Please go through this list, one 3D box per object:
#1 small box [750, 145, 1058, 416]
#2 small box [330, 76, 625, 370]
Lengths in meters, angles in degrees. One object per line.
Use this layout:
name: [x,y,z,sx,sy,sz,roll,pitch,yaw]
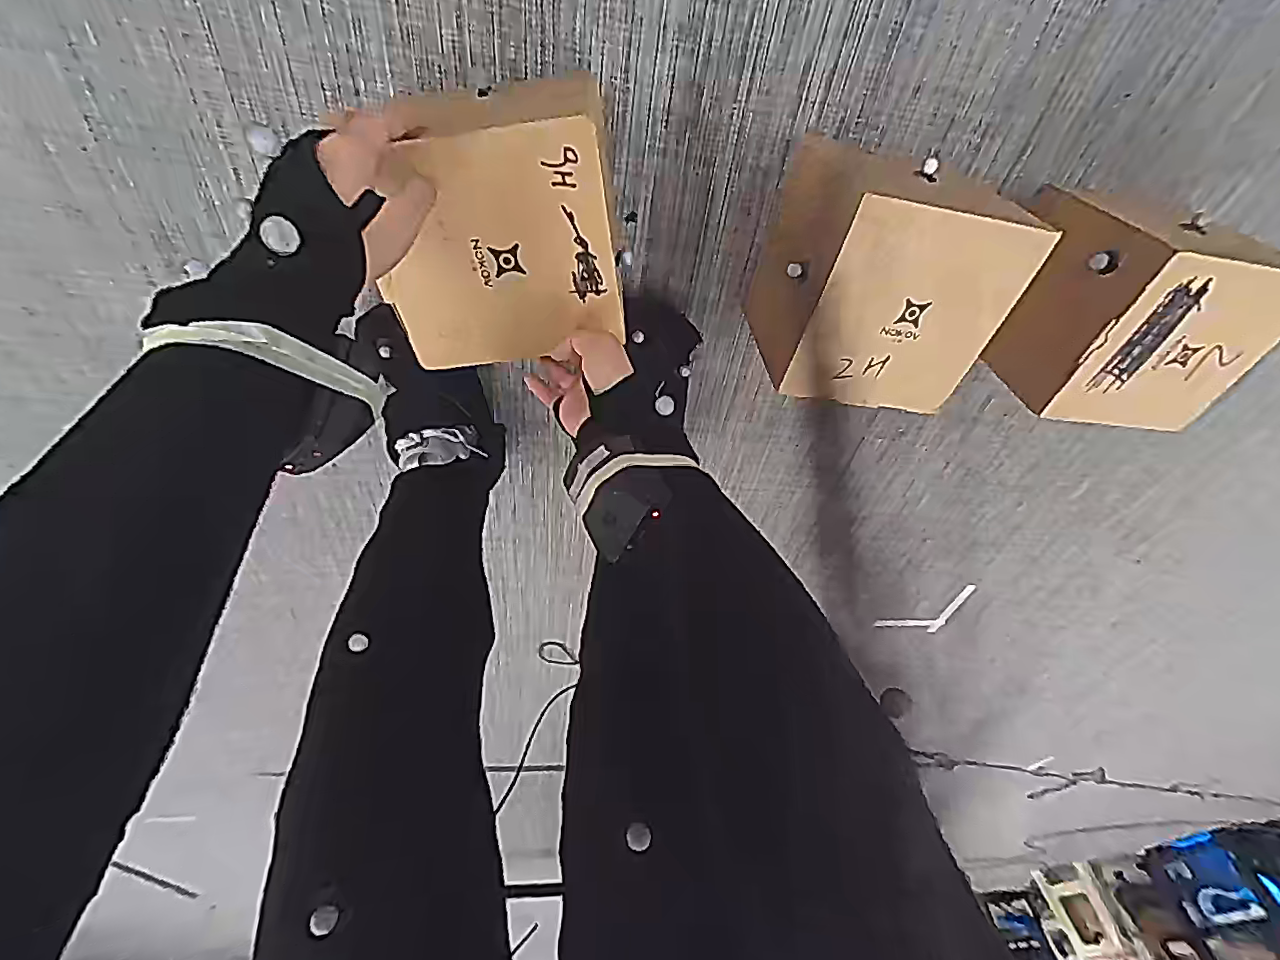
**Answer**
small box: [0.216,-0.186,0.505,0.168,0.176,0.179,6,134,-10]
small box: [-0.108,-0.215,0.452,0.179,0.176,0.168,-7,135,3]
